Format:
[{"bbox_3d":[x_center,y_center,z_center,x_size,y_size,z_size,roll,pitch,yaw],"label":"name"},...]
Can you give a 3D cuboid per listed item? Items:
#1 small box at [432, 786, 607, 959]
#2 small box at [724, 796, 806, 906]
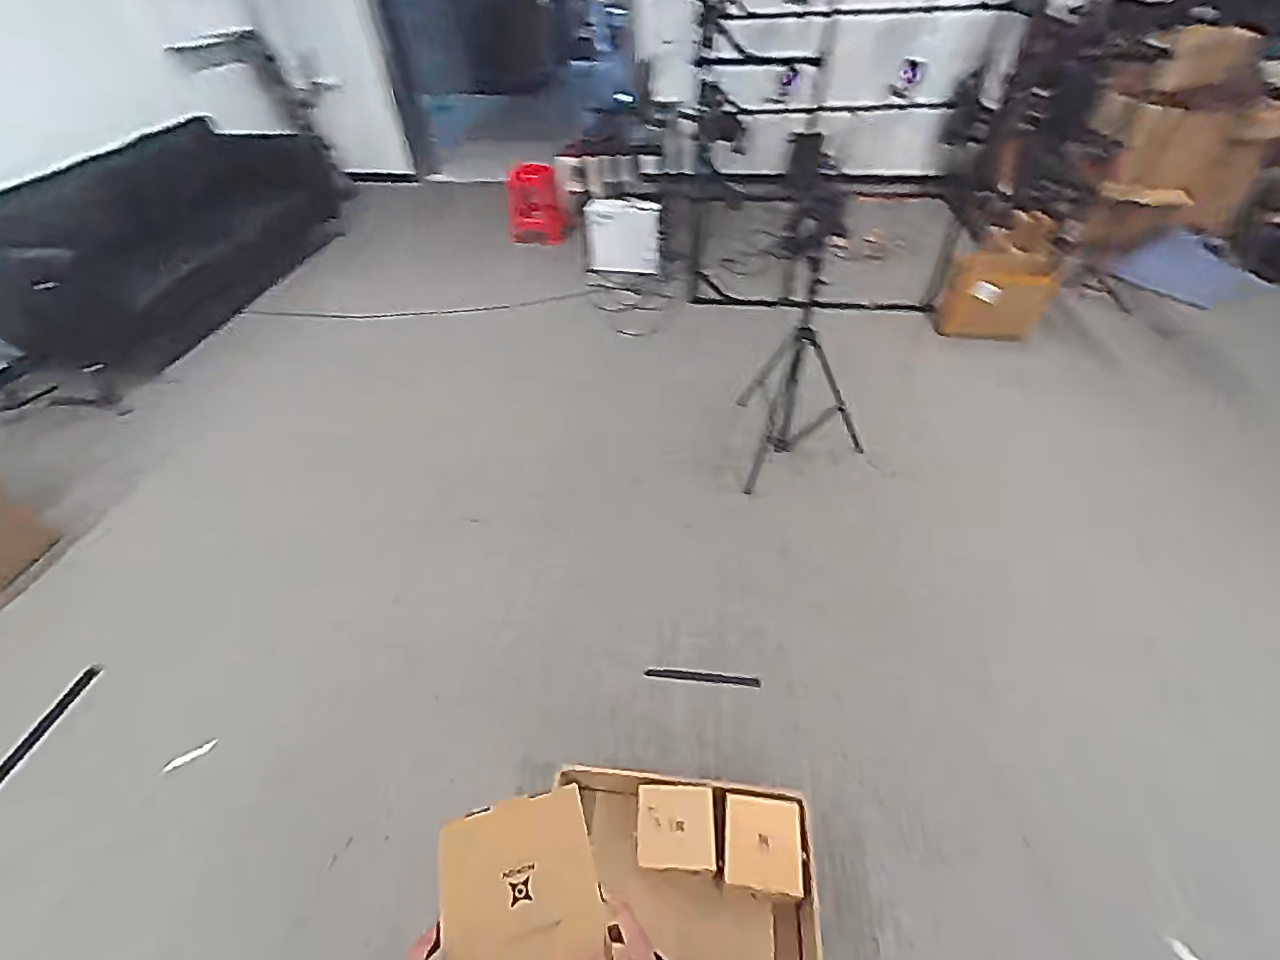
[{"bbox_3d":[-0.144,0.500,0.630,0.168,0.176,0.179,-8,43,-18],"label":"small box"},{"bbox_3d":[0.286,0.866,1.261,0.168,0.176,0.179,3,48,8],"label":"small box"}]
